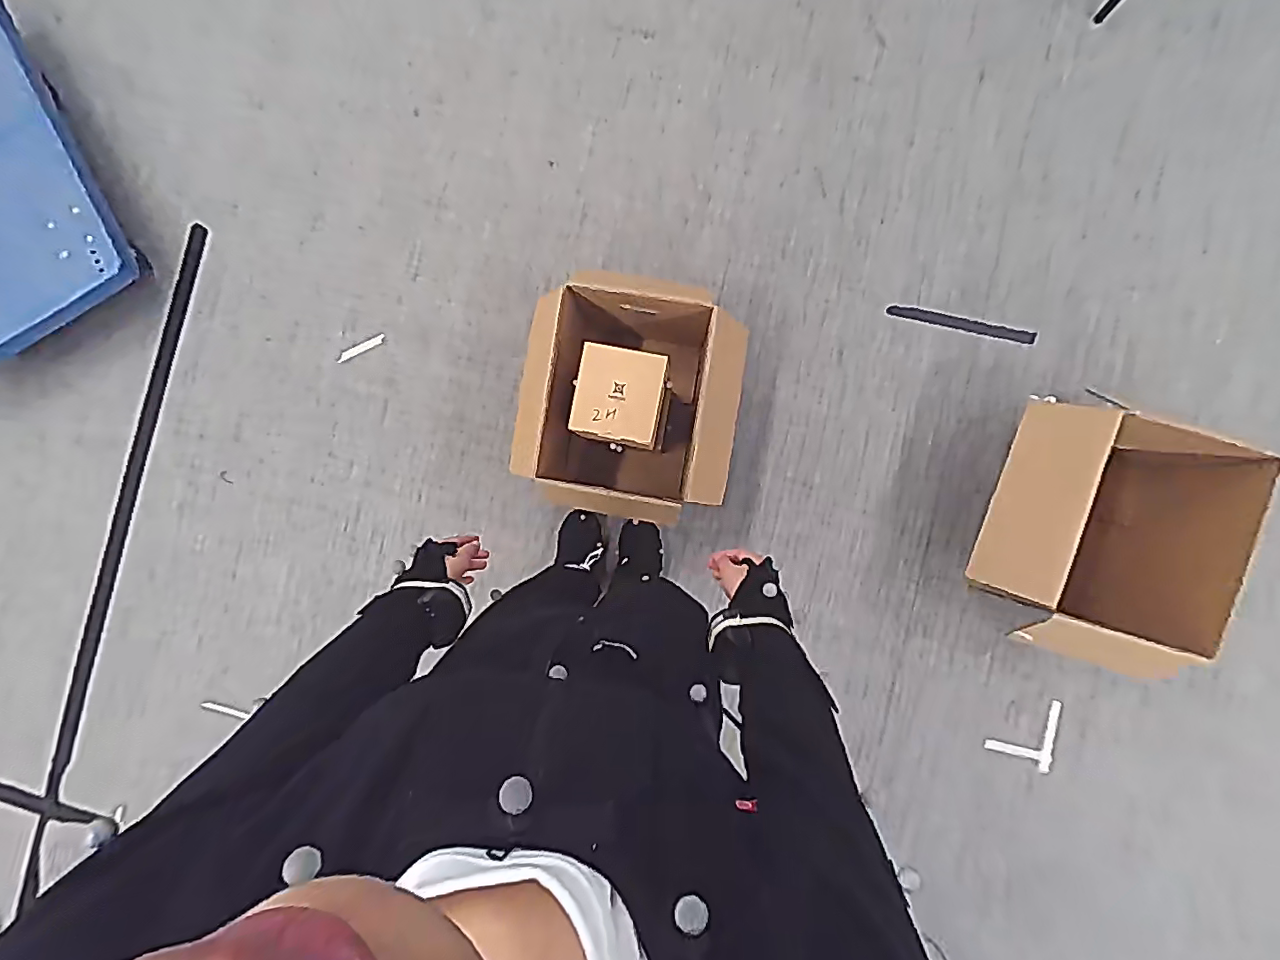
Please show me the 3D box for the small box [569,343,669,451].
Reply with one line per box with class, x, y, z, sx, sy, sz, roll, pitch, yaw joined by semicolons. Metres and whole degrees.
small box;-0.038;-0.163;1.118;0.168;0.176;0.179;11;90;4
